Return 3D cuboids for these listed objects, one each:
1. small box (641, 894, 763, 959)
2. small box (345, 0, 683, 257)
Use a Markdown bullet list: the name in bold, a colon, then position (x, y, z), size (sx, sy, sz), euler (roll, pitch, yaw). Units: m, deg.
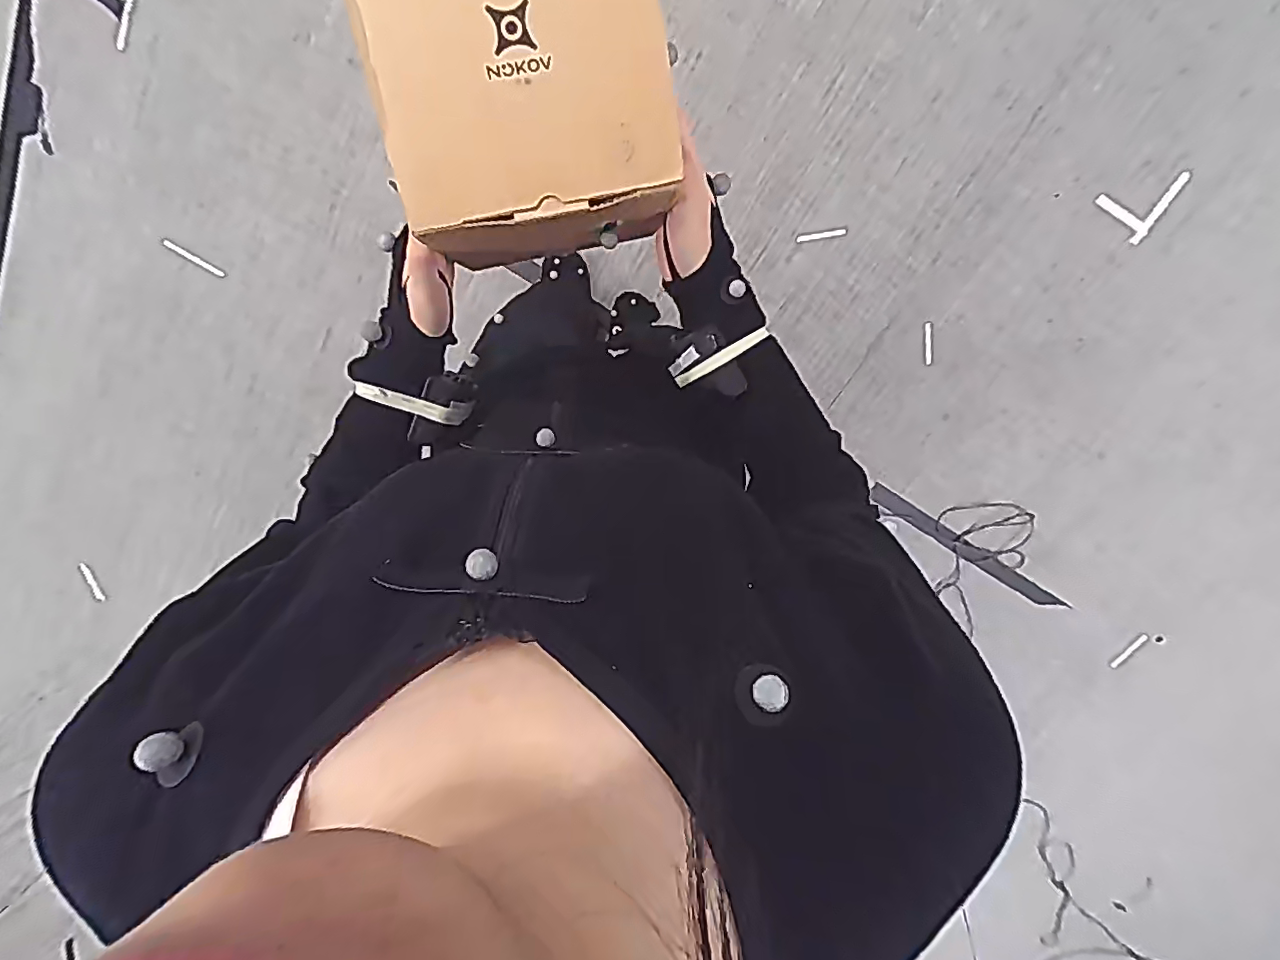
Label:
- **small box**: position (0.110, 0.898, 0.978), size (0.179, 0.176, 0.168), euler (27, 109, -8)
- **small box**: position (-0.076, -0.259, 0.366), size (0.168, 0.176, 0.179), euler (-12, 105, -3)
